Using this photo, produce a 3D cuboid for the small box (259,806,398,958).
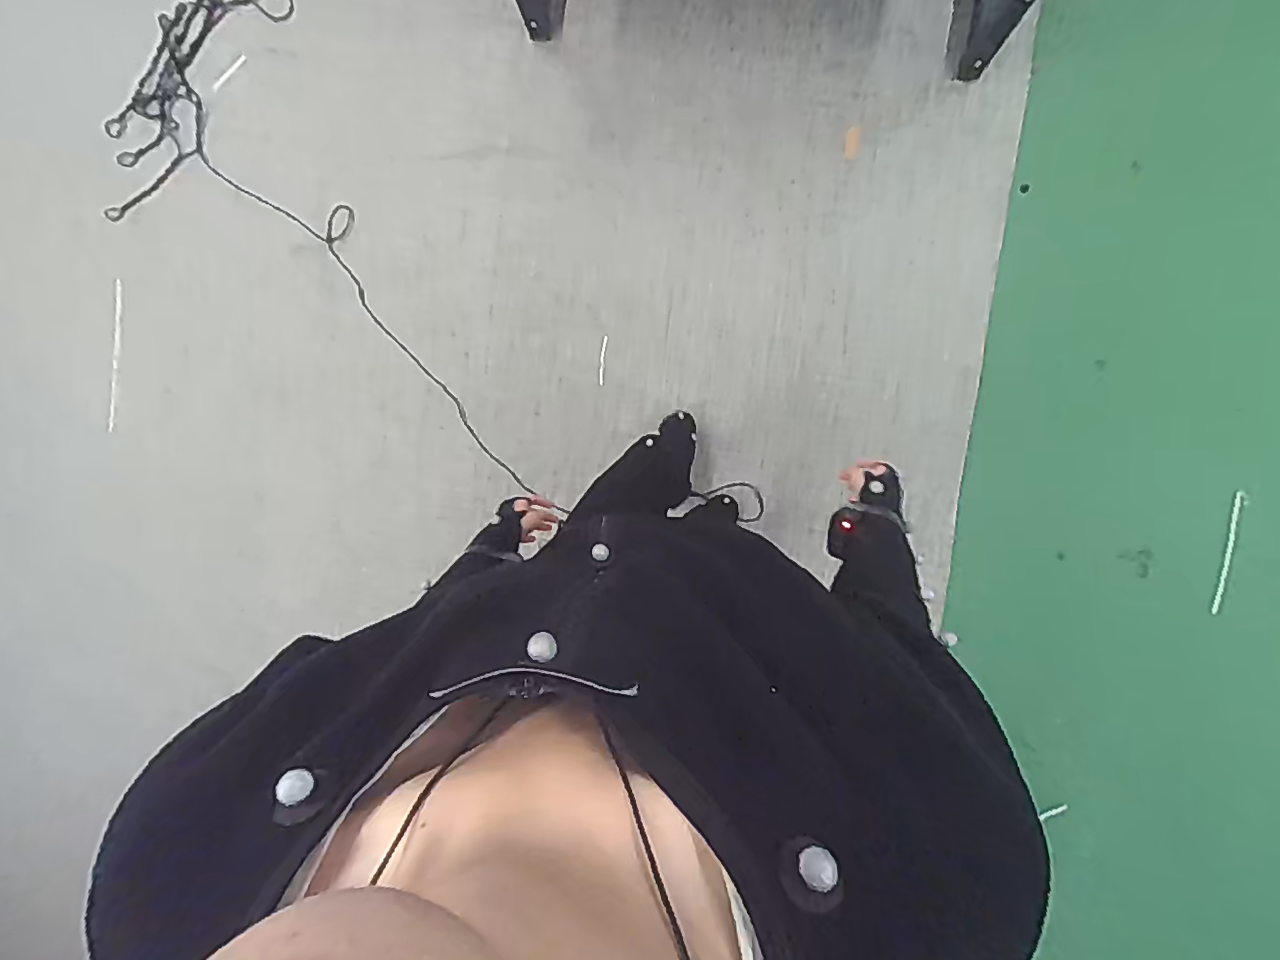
[{"bbox_3d":[-0.691,0.893,1.218,0.168,0.176,0.179,42,96,4],"label":"small box"}]
